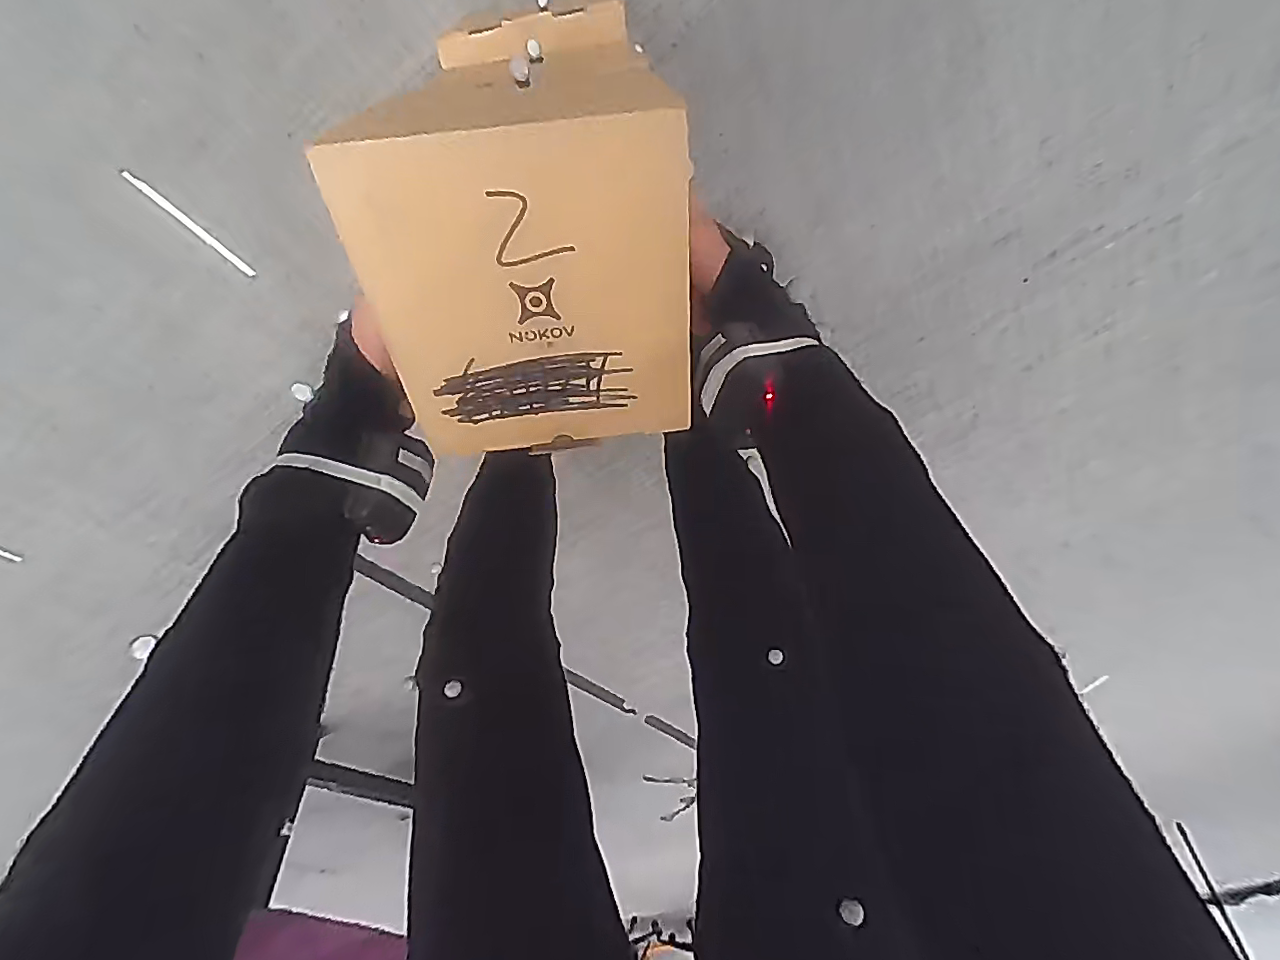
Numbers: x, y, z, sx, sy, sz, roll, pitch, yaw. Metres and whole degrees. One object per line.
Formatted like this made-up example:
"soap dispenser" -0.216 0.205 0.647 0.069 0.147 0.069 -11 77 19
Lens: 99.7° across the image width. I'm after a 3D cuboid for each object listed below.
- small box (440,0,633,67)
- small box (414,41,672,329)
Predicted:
"small box" -0.086 -0.386 0.570 0.168 0.176 0.179 -10 133 1
"small box" -0.069 -0.257 0.465 0.168 0.176 0.179 -8 134 0
